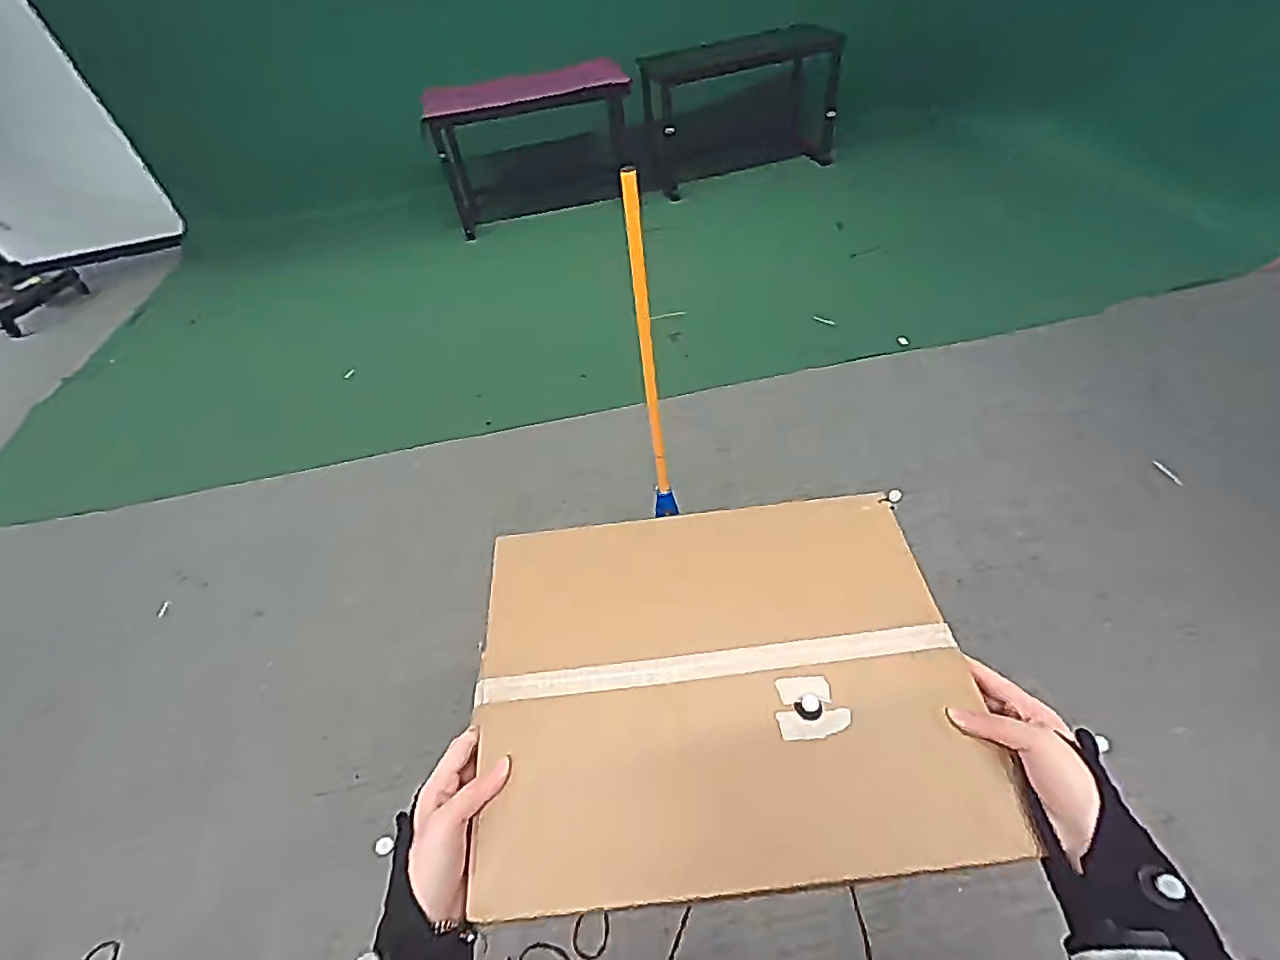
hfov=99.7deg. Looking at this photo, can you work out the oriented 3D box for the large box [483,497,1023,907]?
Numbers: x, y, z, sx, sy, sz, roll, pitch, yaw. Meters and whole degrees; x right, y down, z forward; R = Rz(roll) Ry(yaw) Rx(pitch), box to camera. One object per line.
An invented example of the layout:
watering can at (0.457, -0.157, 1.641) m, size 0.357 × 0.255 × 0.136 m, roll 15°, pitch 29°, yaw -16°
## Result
large box at (0.075, 0.250, 0.593) m, size 0.408 × 0.320 × 0.320 m, roll -6°, pitch 52°, yaw -1°
